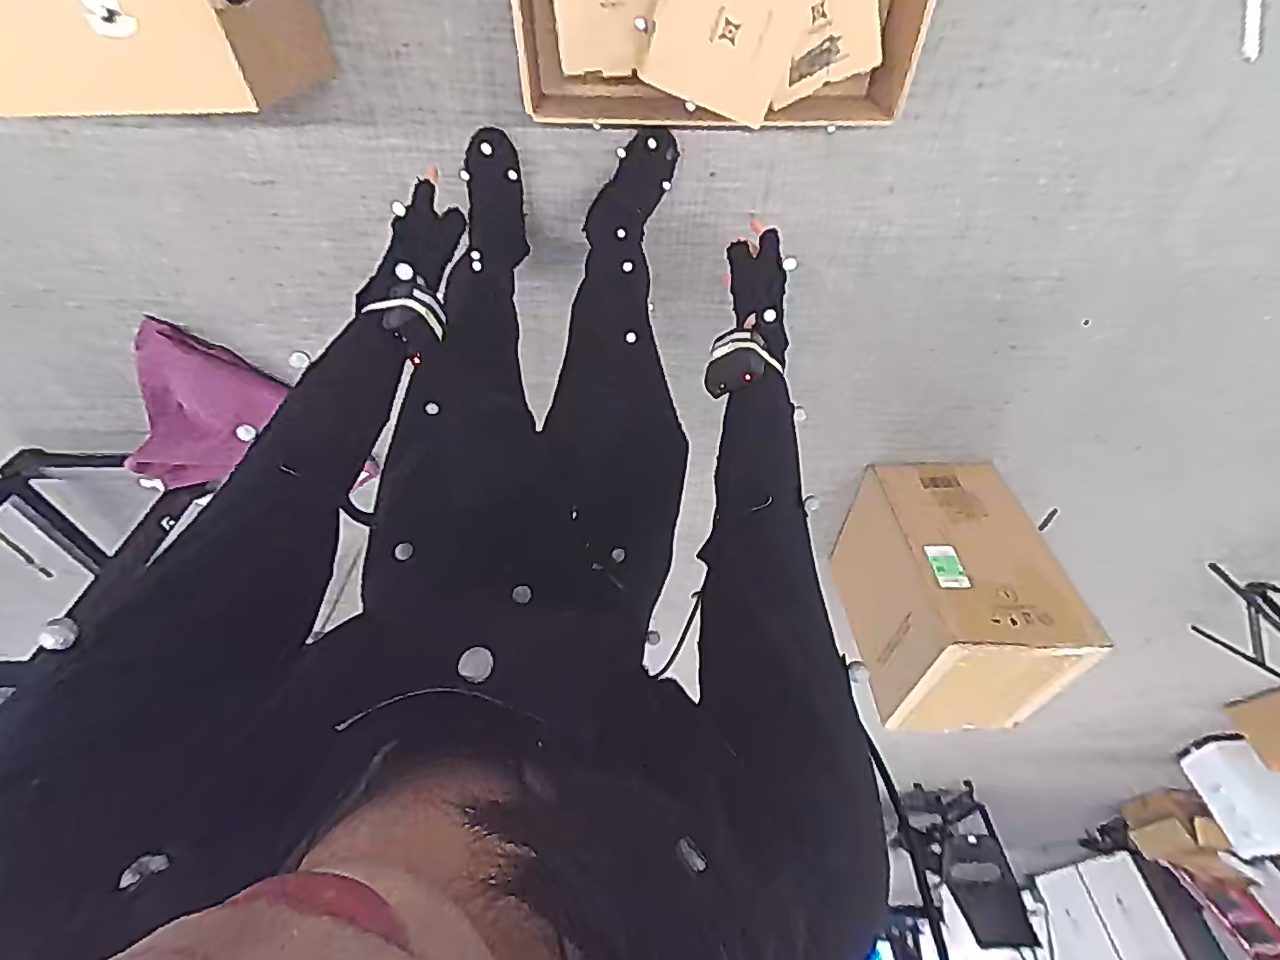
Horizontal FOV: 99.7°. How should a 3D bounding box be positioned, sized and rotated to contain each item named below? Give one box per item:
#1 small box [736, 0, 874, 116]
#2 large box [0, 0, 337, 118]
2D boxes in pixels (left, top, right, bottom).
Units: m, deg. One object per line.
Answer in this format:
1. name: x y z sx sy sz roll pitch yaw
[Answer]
1. small box: 0.252 -0.715 0.845 0.168 0.176 0.179 -16 132 15
2. large box: -0.737 -0.734 0.762 0.408 0.320 0.320 -2 135 -1
